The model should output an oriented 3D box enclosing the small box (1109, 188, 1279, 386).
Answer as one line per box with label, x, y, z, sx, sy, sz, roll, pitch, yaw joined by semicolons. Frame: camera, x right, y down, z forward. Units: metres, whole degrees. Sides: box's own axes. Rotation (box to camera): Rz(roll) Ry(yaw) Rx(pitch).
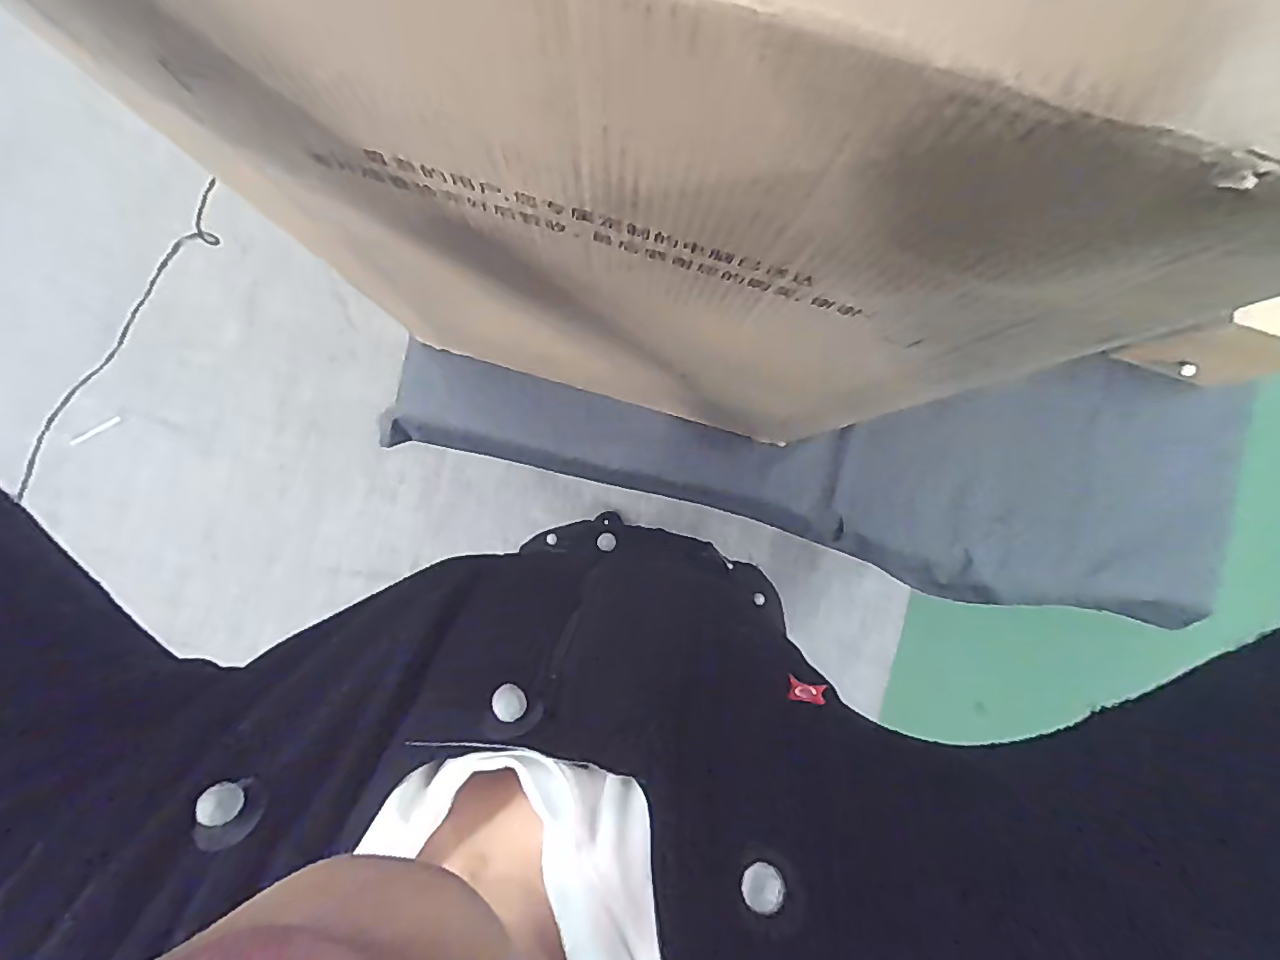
small box;0.790;-0.243;0.725;0.168;0.176;0.179;17;89;-2
